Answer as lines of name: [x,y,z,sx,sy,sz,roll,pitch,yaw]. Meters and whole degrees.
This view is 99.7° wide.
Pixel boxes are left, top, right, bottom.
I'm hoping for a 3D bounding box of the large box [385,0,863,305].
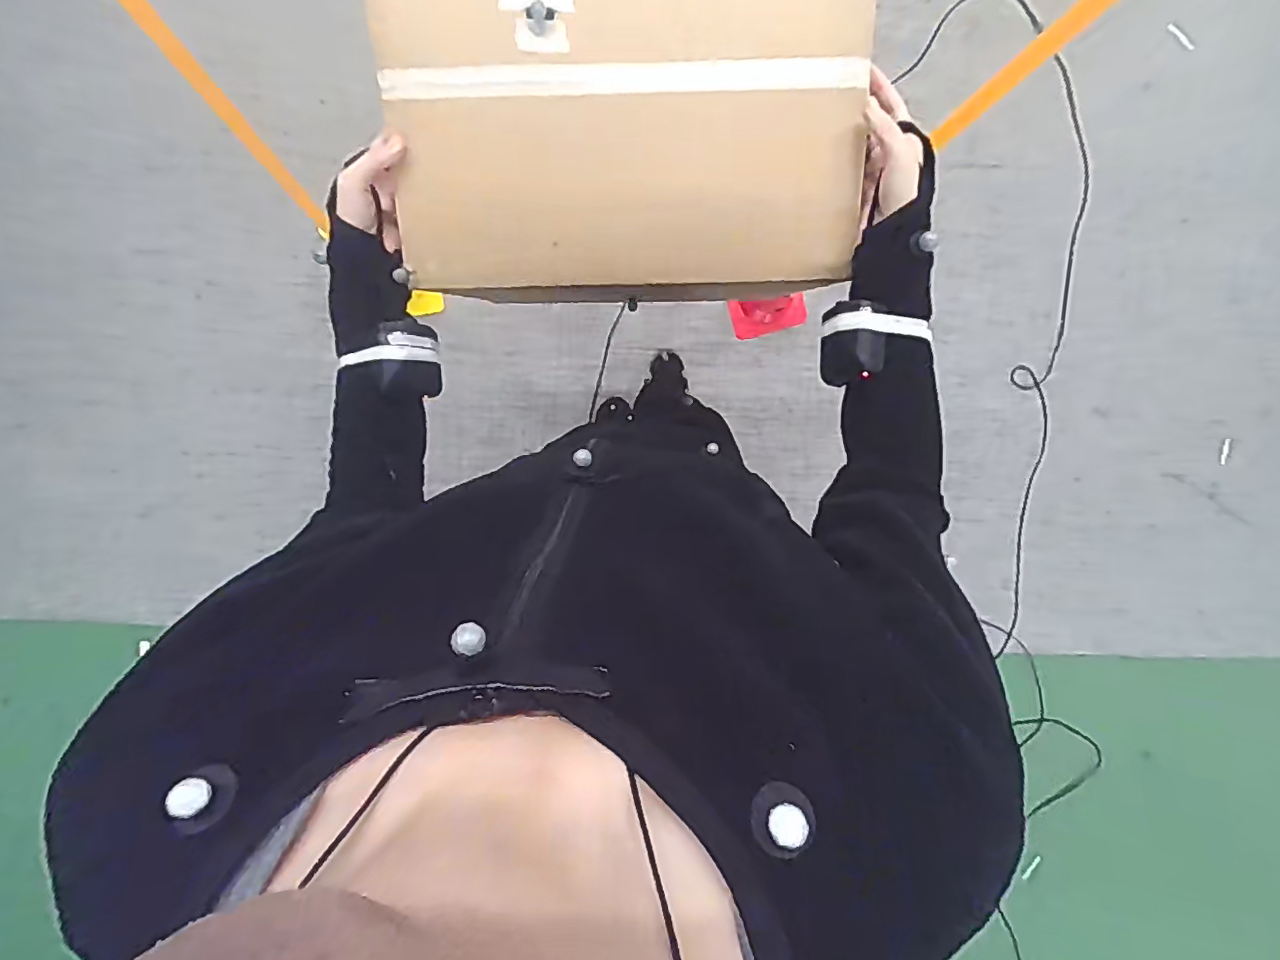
large box: [-0.009,-0.369,0.606,0.408,0.320,0.320,-1,104,1]
